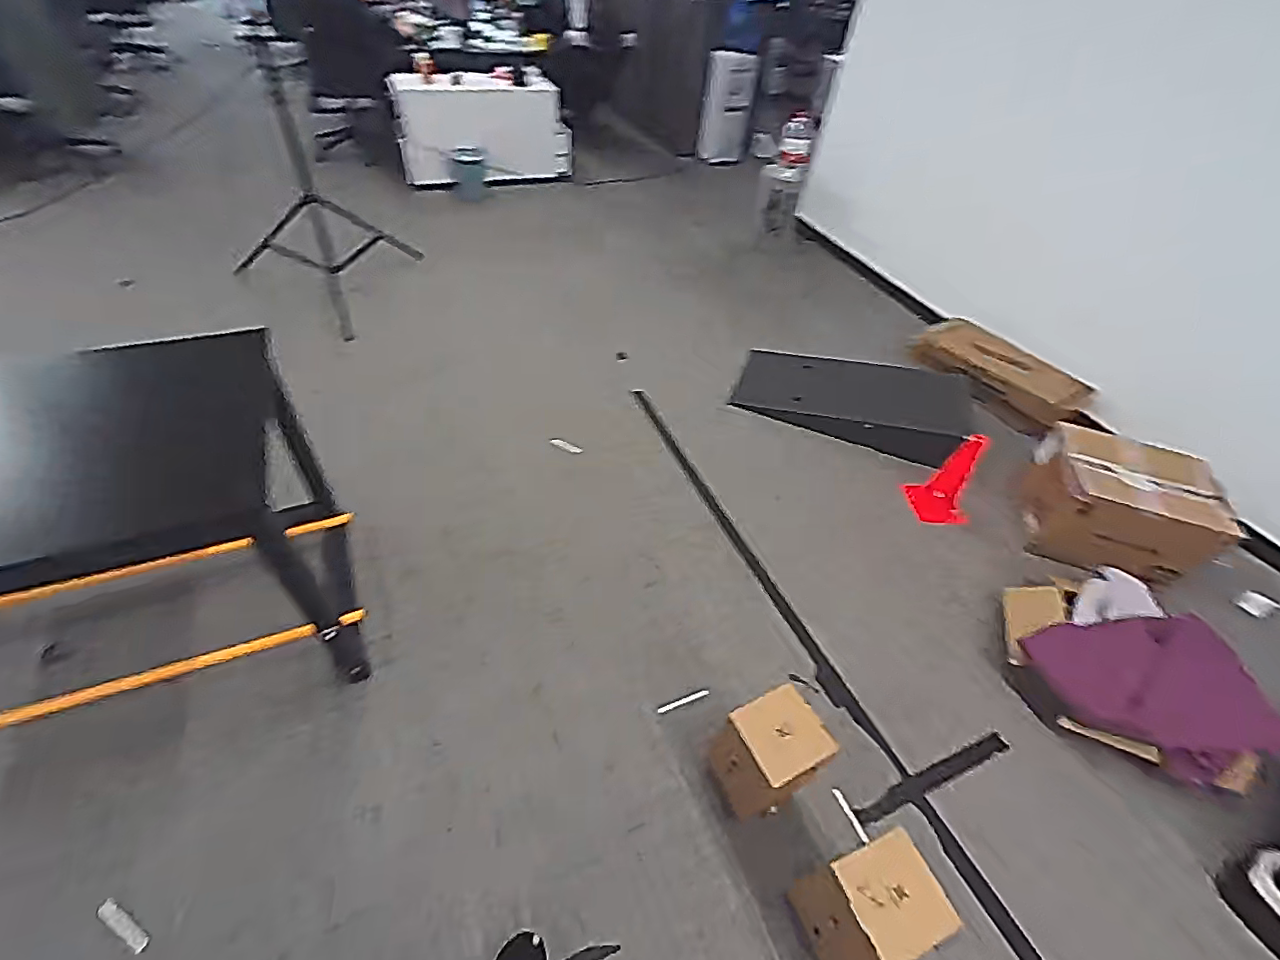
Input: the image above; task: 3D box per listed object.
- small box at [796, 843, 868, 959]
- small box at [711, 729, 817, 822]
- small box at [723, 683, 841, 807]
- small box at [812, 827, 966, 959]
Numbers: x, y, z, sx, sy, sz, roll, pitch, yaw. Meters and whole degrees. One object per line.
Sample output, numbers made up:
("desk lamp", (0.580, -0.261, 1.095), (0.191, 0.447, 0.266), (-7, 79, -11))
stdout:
("small box", (0.455, 0.916, 1.153), (0.179, 0.176, 0.168), (-15, 50, -19))
("small box", (0.295, 0.703, 1.333), (0.168, 0.176, 0.179), (-16, 51, -20))
("small box", (0.307, 0.595, 1.213), (0.179, 0.176, 0.168), (-19, 50, -21))
("small box", (0.462, 0.801, 1.033), (0.179, 0.176, 0.168), (-14, 49, -18))
